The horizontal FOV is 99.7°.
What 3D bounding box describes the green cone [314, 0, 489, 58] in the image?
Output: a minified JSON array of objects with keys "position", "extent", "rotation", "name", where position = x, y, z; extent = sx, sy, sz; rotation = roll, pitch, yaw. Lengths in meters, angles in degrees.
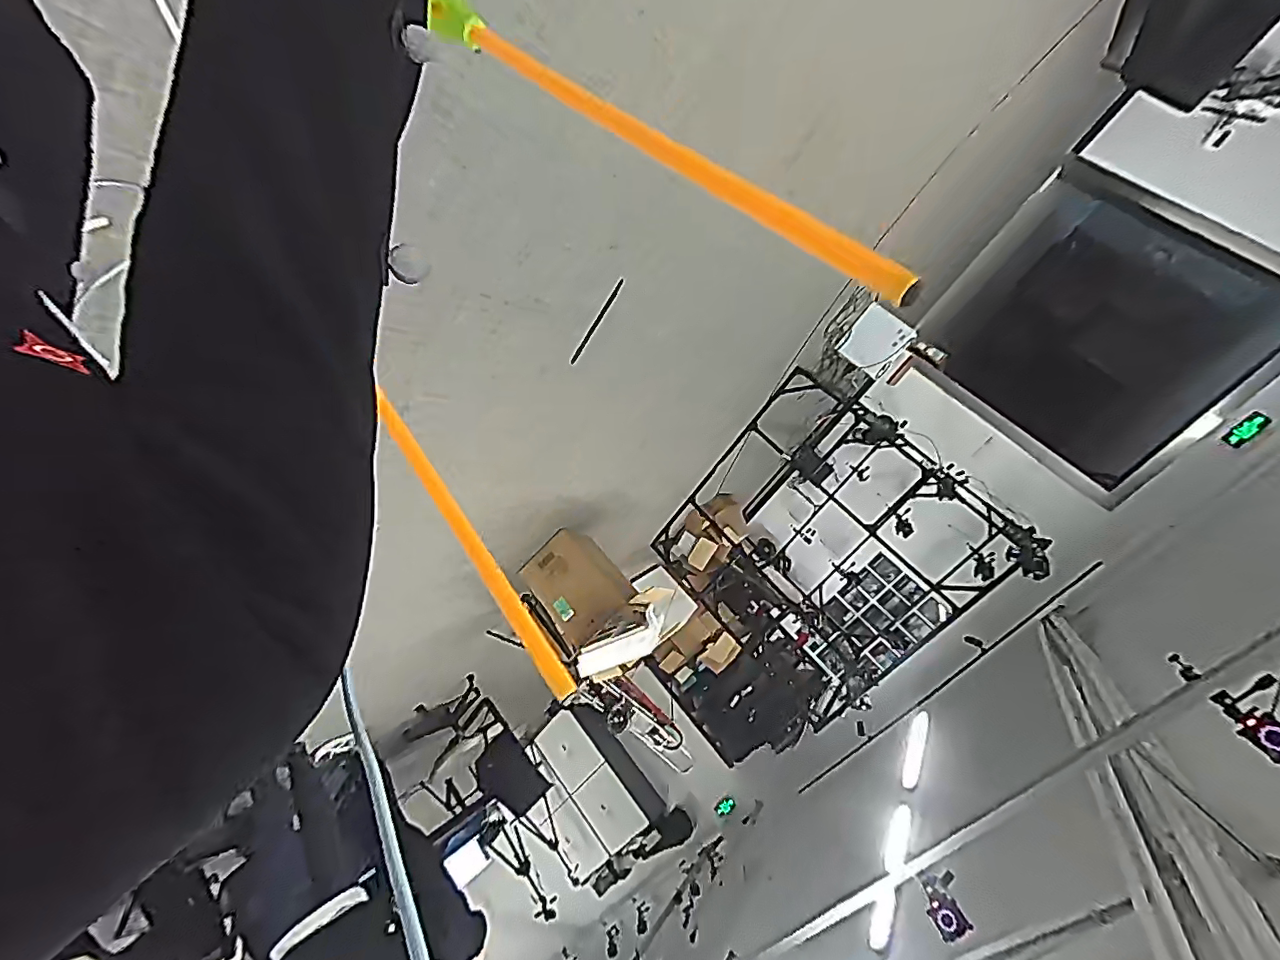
[{"position":[-0.369,-0.812,0.904],"extent":[0.200,0.368,0.202],"rotation":[-18,149,-49],"name":"green cone"}]
